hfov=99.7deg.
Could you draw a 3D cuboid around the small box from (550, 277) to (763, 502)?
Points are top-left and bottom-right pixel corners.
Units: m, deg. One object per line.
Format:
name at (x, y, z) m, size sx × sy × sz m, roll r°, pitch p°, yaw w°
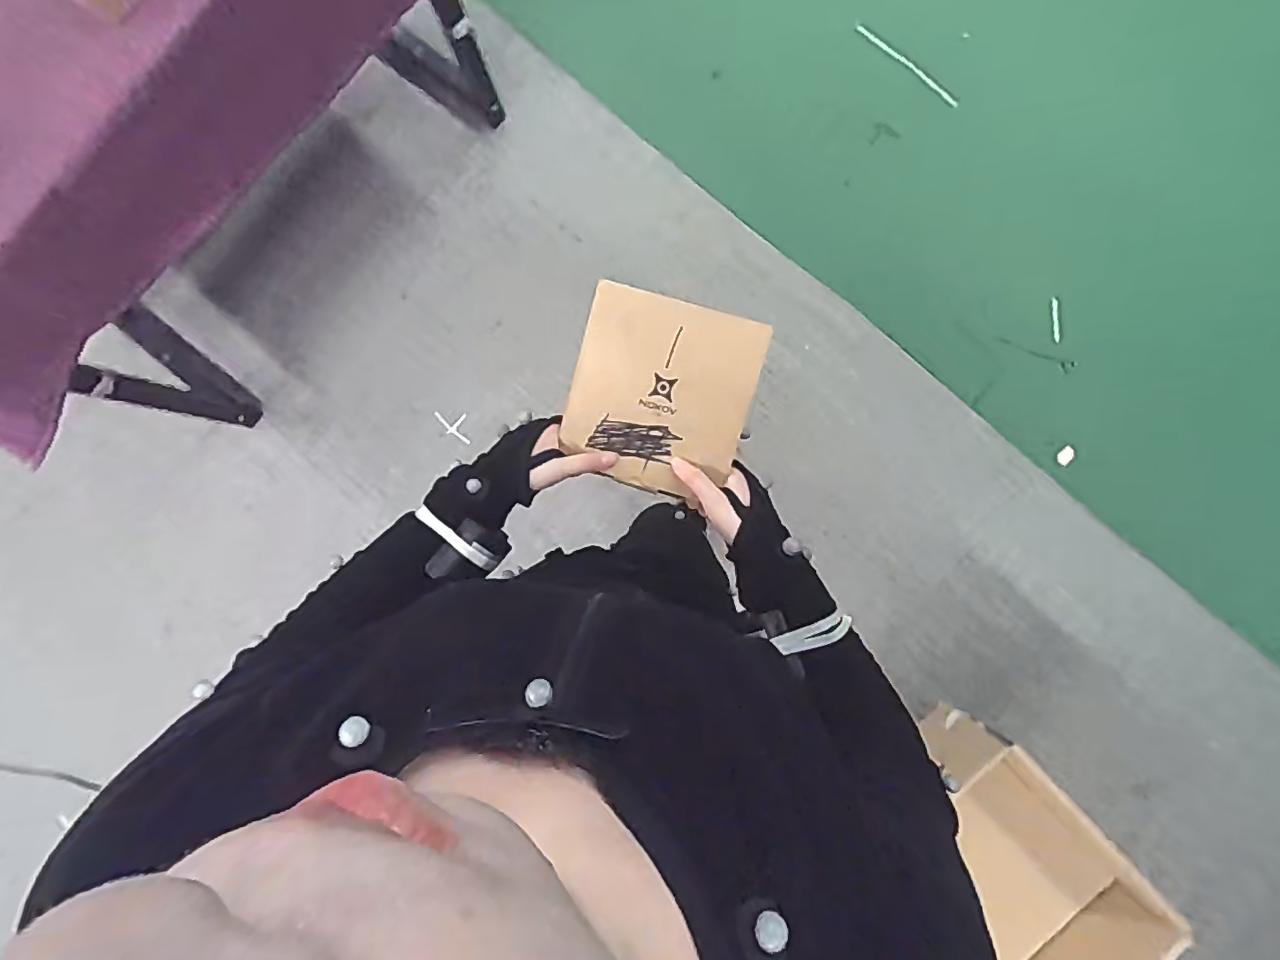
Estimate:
small box at (0.019, -0.093, 0.581) m, size 0.168 × 0.176 × 0.179 m, roll 16°, pitch 99°, yaw 1°
